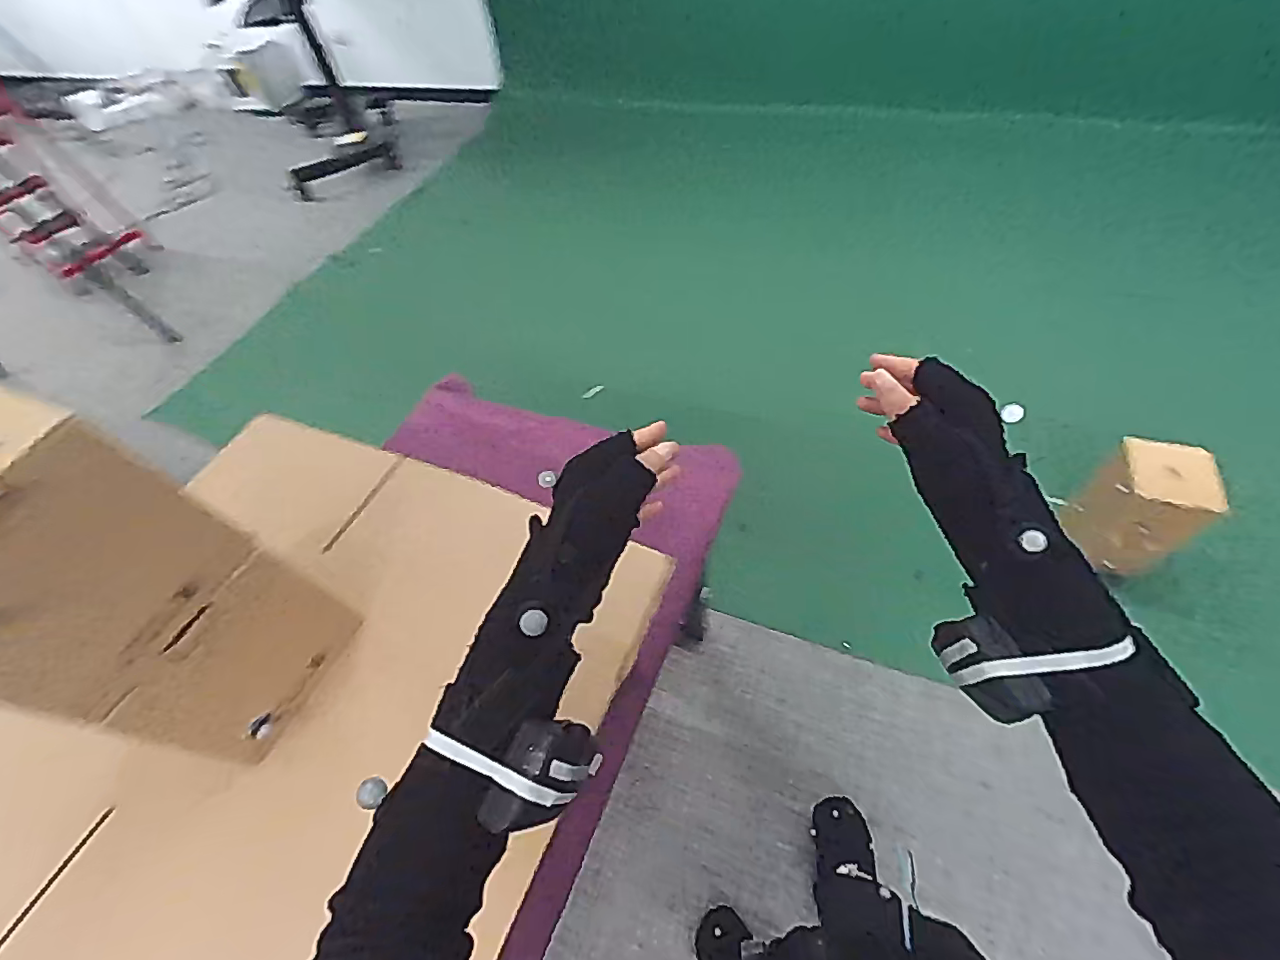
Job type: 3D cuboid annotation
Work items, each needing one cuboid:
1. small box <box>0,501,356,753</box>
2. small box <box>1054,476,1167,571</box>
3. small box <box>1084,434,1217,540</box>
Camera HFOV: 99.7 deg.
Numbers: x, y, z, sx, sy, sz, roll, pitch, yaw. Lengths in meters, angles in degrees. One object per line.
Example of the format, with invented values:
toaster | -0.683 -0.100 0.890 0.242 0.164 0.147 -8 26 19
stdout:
small box | -0.431 0.150 0.537 0.179 0.176 0.168 14 58 21
small box | 1.242 0.114 1.443 0.168 0.176 0.179 13 58 17
small box | 1.222 0.019 1.312 0.168 0.176 0.179 12 58 15
